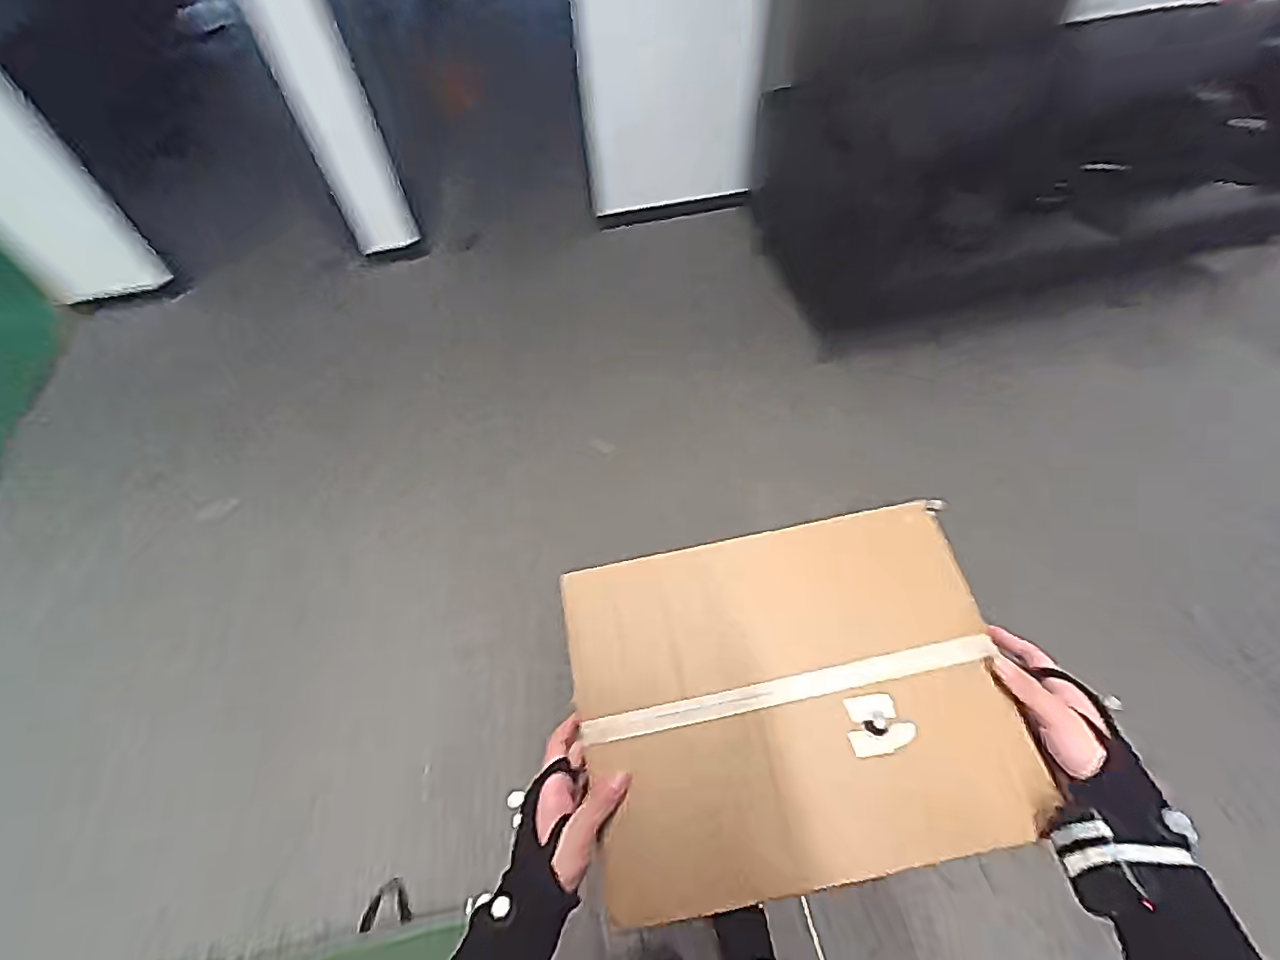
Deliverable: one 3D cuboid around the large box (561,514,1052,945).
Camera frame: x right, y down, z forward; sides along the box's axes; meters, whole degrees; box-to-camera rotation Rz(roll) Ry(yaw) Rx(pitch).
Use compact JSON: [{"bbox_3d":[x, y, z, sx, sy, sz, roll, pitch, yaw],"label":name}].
[{"bbox_3d":[0.146,0.280,0.662,0.408,0.320,0.320,-12,65,-3],"label":"large box"}]
